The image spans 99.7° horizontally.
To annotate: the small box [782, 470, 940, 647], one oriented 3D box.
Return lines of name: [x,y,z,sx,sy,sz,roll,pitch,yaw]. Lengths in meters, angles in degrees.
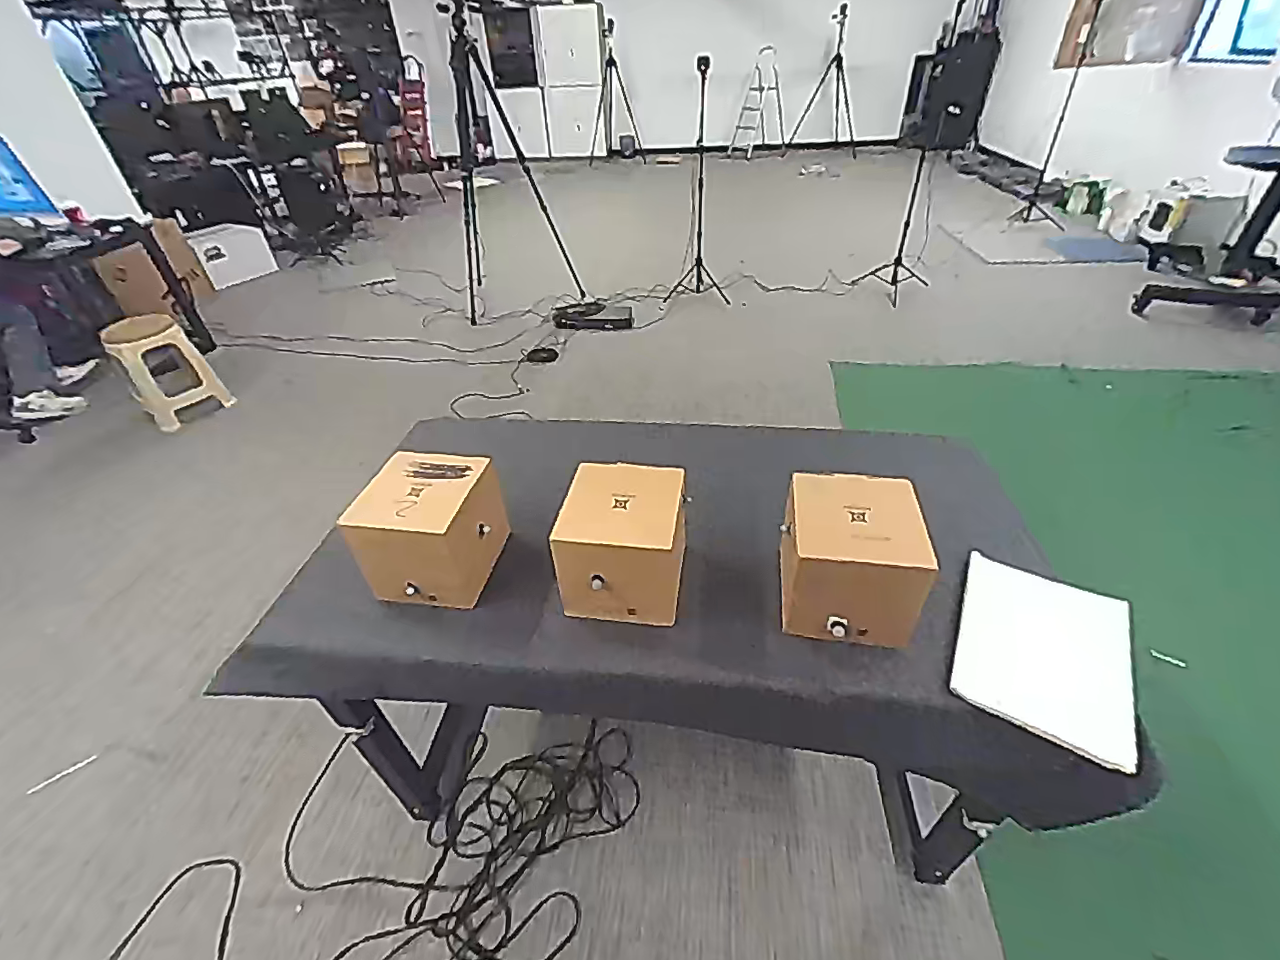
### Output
small box: [0.294,0.107,0.764,0.168,0.176,0.179,3,40,10]

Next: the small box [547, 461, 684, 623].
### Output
small box: [-0.025,0.092,0.807,0.168,0.176,0.179,3,39,9]
